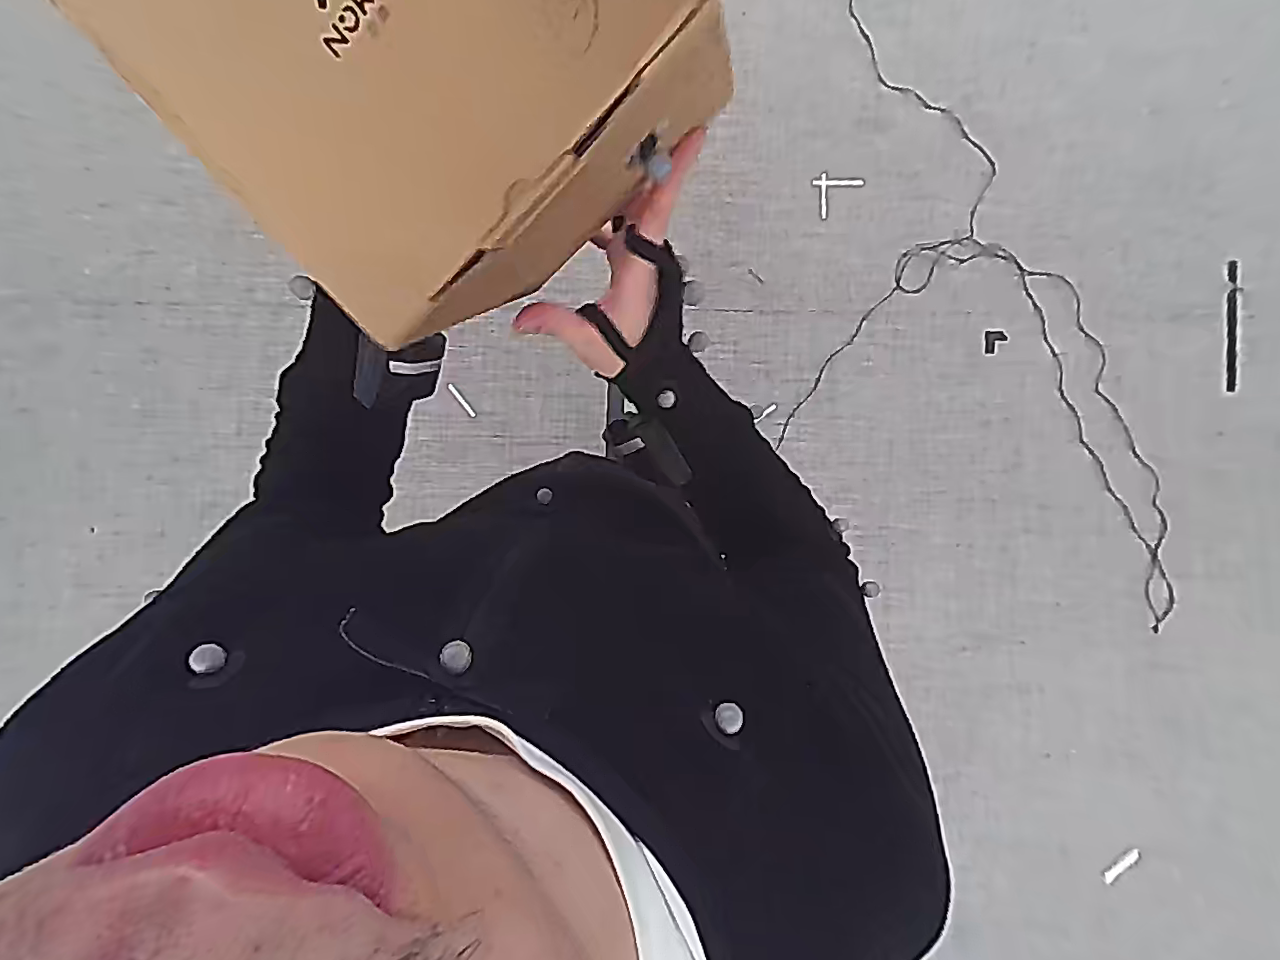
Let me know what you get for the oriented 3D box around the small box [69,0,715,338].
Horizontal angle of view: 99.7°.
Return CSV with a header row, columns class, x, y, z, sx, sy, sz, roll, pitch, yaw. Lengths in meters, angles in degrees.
class,x,y,z,sx,sy,sz,roll,pitch,yaw
small box,-0.080,-0.198,0.242,0.168,0.176,0.179,-37,105,24
